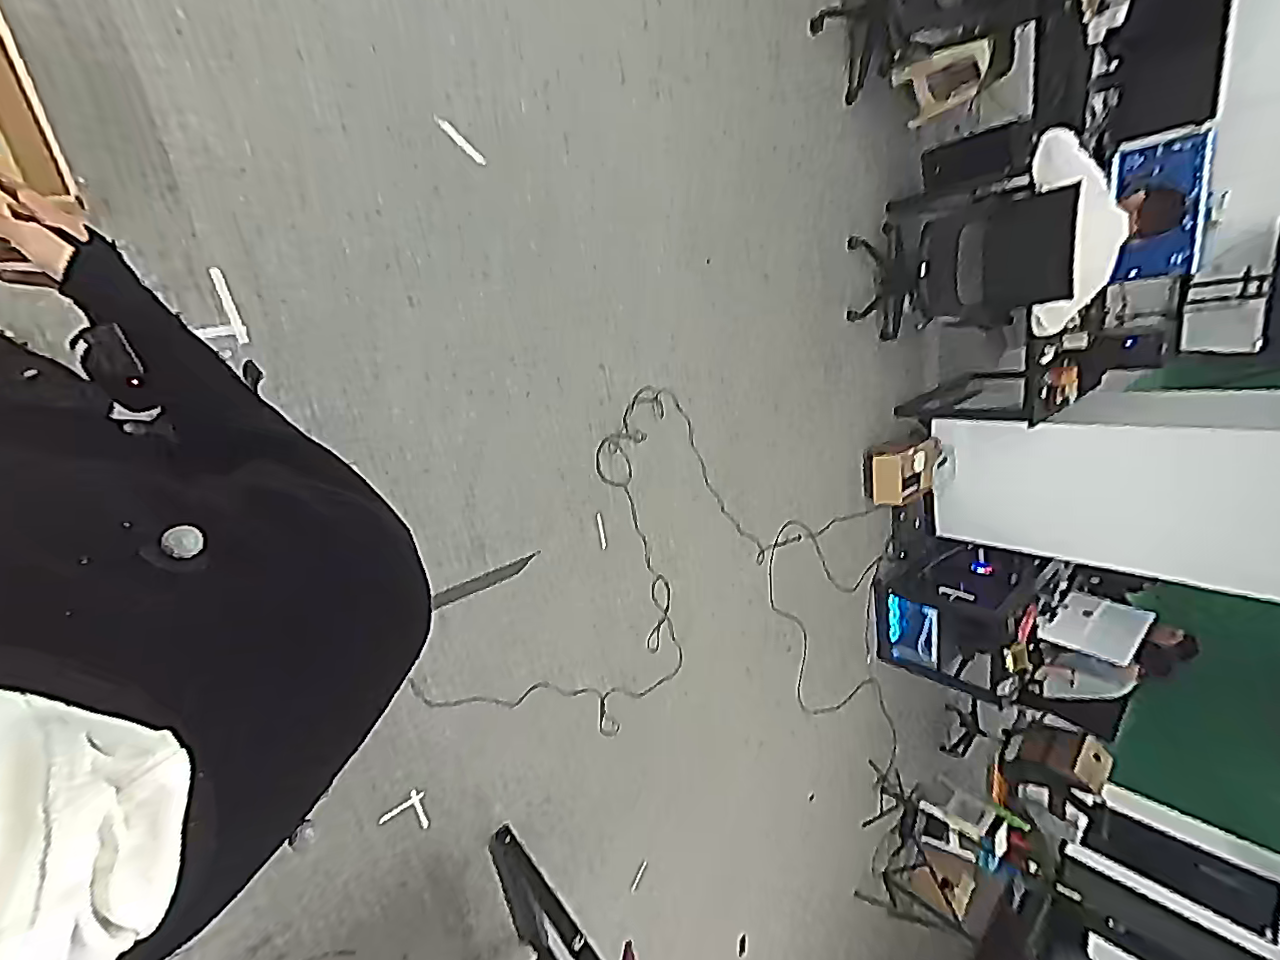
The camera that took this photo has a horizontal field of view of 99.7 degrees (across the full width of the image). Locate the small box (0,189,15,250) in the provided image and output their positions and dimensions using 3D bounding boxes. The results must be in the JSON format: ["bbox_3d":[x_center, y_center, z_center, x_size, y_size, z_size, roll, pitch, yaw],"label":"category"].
[{"bbox_3d":[-0.684,-0.288,0.449,0.168,0.176,0.179,-29,117,-47],"label":"small box"}]
